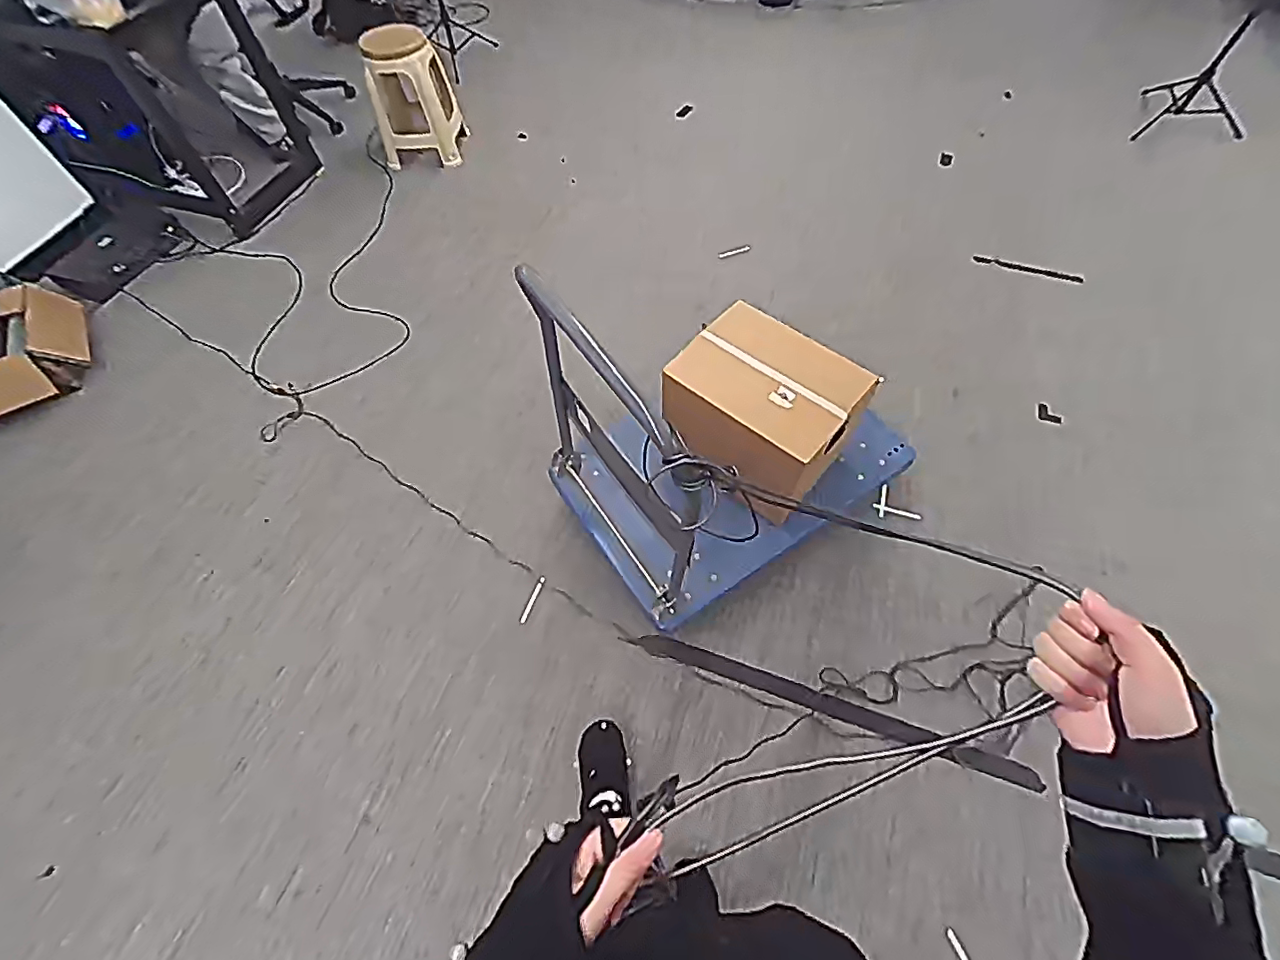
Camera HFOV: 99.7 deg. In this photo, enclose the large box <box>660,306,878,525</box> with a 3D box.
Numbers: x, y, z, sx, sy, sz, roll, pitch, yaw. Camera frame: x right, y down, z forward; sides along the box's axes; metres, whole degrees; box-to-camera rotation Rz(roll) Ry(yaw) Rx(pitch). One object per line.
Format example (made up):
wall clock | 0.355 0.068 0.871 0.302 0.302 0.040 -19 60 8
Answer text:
large box | 0.298 -0.162 1.375 0.408 0.320 0.320 37 68 20
